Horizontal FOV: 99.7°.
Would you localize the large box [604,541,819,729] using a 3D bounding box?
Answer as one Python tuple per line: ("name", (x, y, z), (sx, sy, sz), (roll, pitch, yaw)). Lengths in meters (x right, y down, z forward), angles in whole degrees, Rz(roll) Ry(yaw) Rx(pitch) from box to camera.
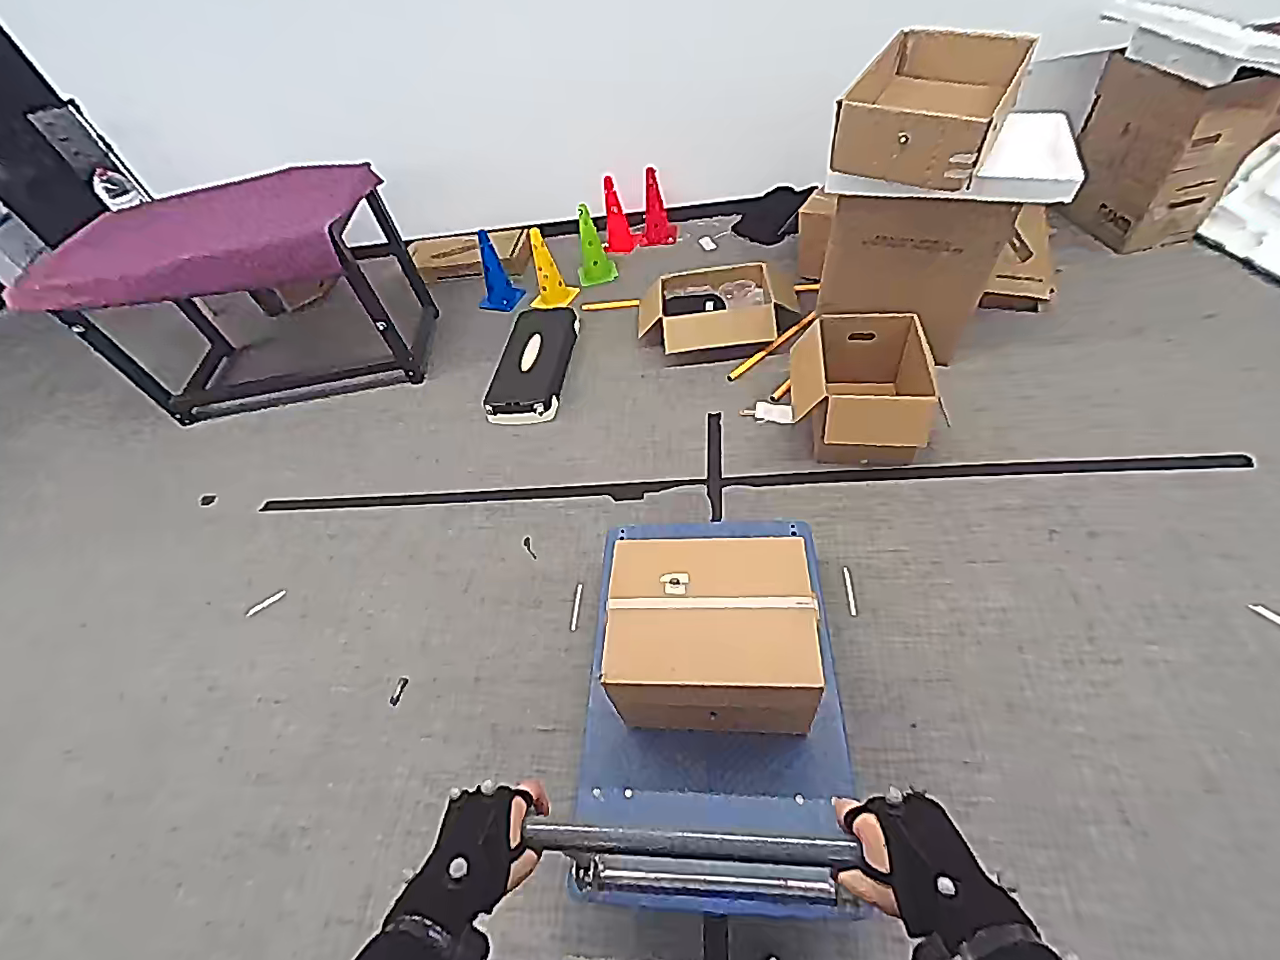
("large box", (0.158, 0.353, 1.202), (0.408, 0.320, 0.320), (-3, 50, 9))
